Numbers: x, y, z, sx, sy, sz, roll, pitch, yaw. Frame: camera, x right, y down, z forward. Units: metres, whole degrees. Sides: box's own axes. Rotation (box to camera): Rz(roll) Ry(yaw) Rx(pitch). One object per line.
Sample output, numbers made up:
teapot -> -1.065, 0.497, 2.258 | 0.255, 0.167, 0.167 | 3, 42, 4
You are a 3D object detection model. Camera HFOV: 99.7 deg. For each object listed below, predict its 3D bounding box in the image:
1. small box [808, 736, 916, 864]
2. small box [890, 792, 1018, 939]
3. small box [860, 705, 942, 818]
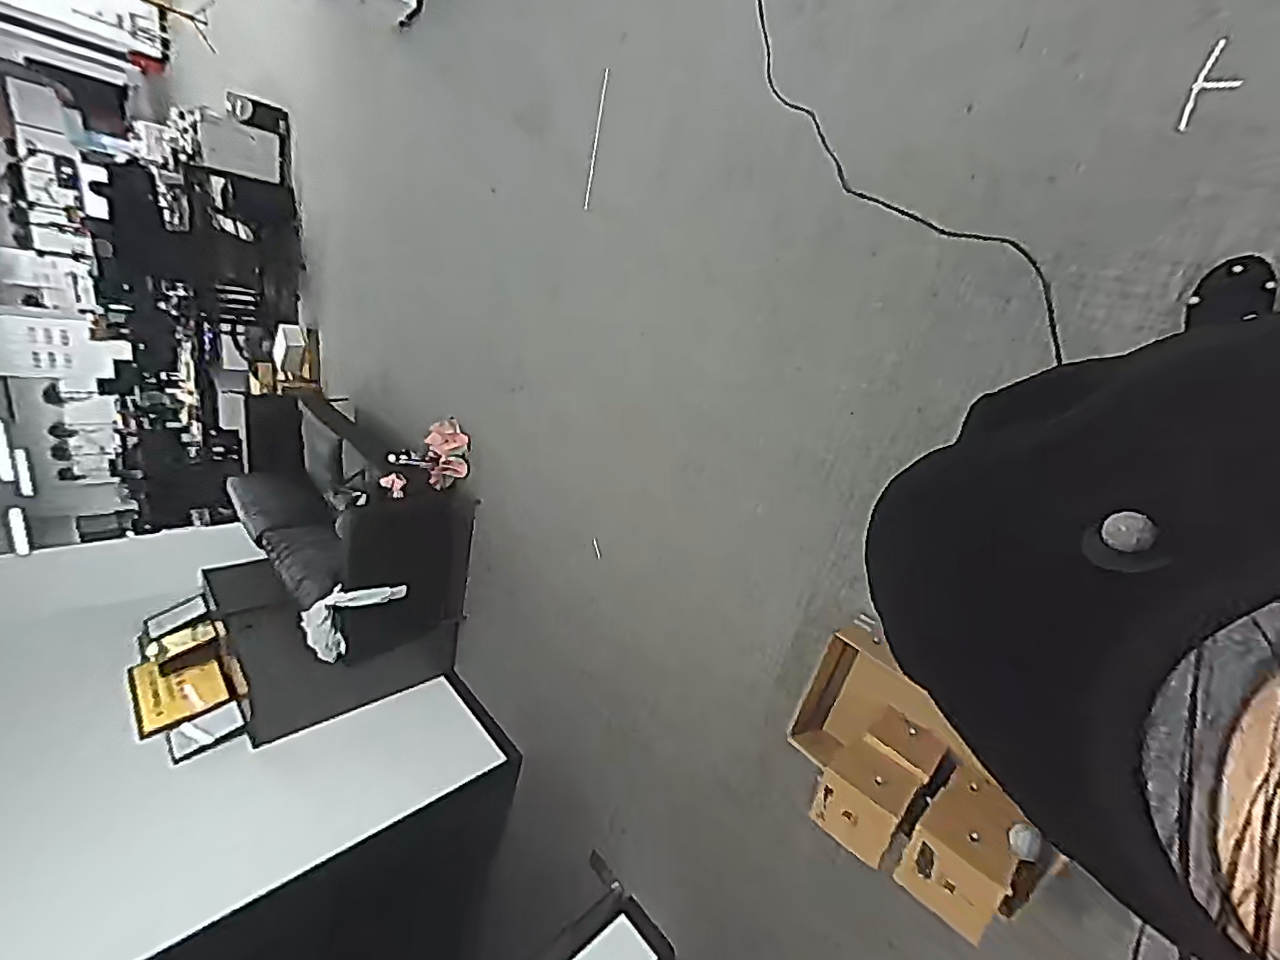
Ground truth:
small box -> 0.547, 0.771, 1.326 | 0.179, 0.176, 0.168 | 26, 114, 38
small box -> 0.691, 0.829, 1.190 | 0.179, 0.176, 0.168 | 28, 113, 39
small box -> 0.670, 0.741, 1.432 | 0.168, 0.176, 0.179 | 31, 116, 36
